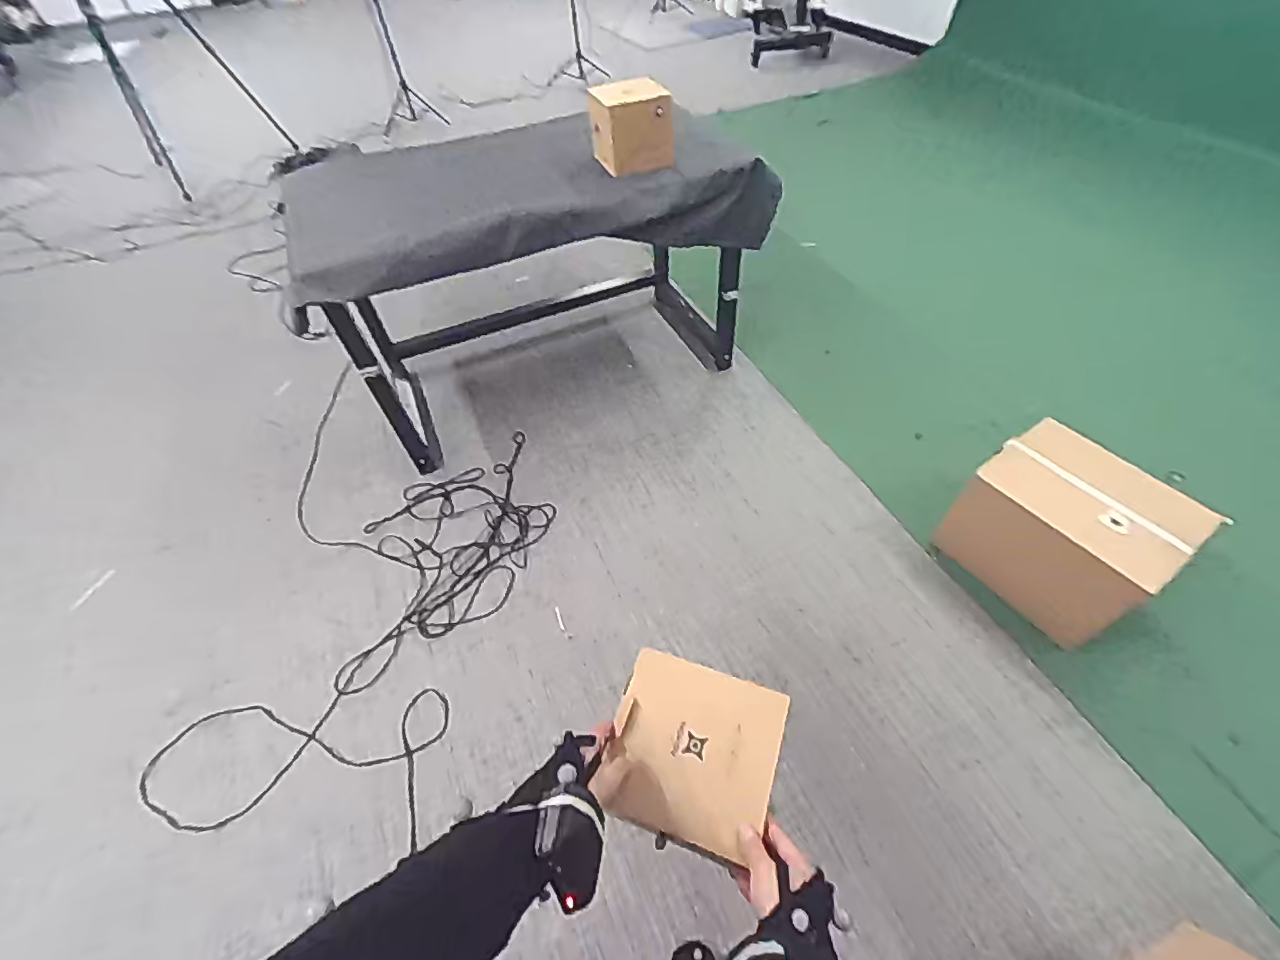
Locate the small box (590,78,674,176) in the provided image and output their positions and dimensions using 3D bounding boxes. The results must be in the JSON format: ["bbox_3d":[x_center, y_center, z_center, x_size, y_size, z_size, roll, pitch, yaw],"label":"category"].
[{"bbox_3d":[-0.017,-0.932,1.432,0.179,0.176,0.168,-19,52,-11],"label":"small box"}]

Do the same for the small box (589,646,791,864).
[{"bbox_3d":[0.061,0.321,0.626,0.179,0.176,0.168,14,57,15],"label":"small box"}]
